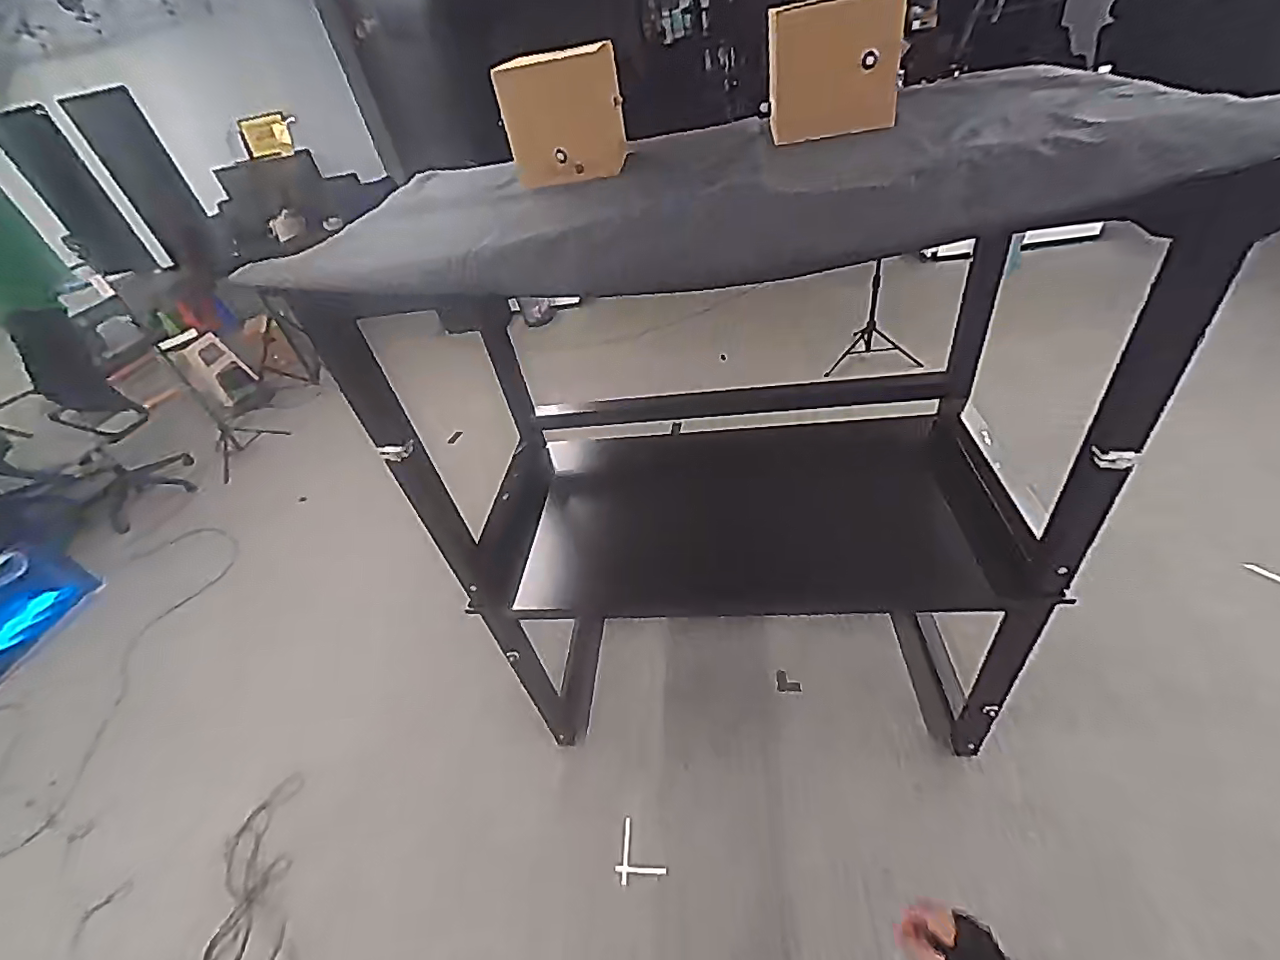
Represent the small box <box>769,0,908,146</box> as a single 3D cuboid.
[{"bbox_3d":[0.294,-0.640,0.838,0.179,0.176,0.168,-2,40,12],"label":"small box"}]
